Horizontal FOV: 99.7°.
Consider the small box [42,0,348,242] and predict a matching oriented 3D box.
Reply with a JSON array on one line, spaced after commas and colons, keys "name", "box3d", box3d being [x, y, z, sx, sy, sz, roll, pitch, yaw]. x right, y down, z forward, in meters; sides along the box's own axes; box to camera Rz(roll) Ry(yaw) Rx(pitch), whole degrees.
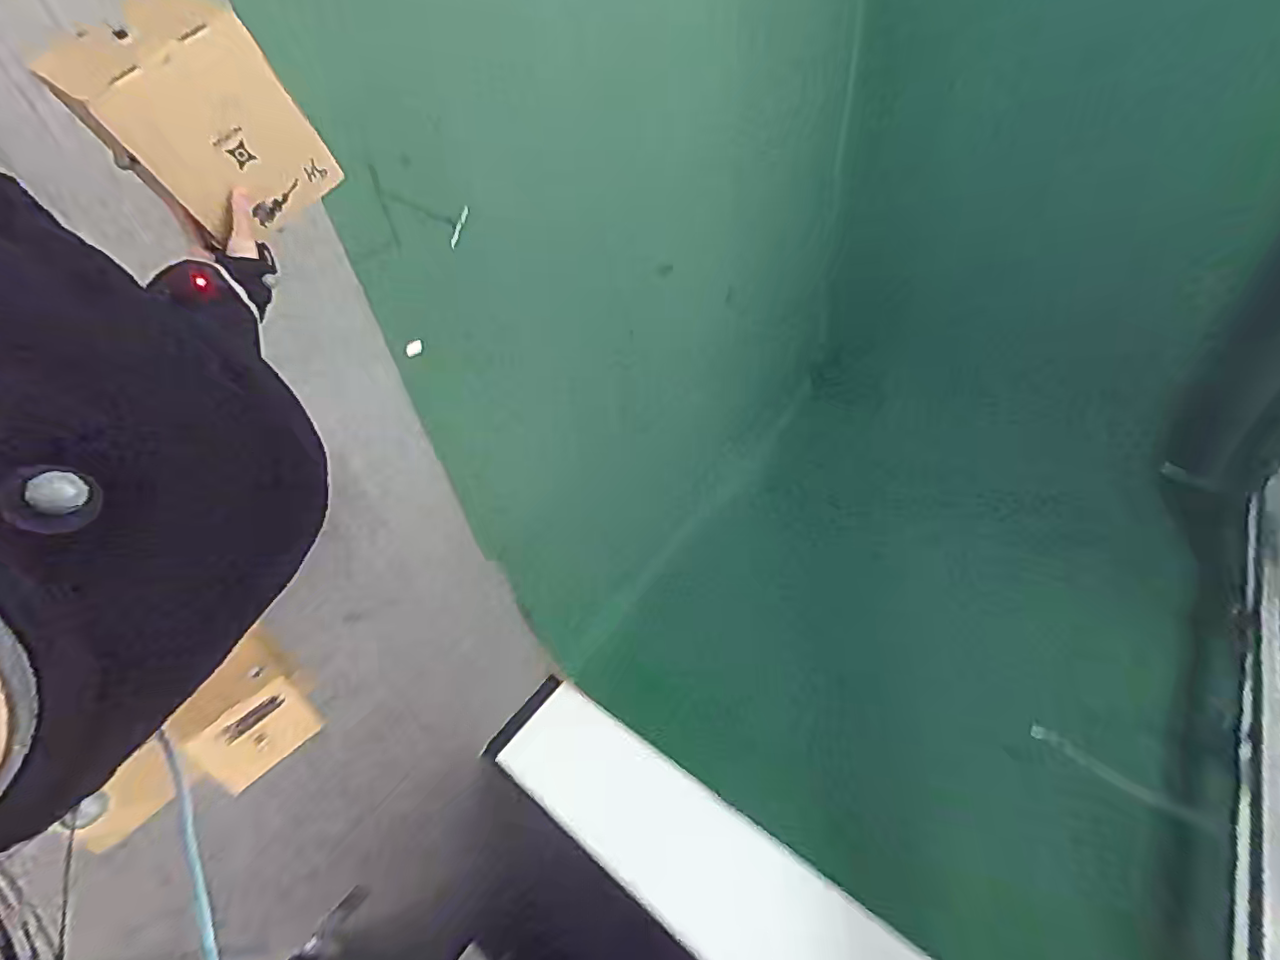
[{"name": "small box", "box3d": [-0.484, -0.409, 0.601, 0.168, 0.176, 0.179, -49, 155, -14]}]
